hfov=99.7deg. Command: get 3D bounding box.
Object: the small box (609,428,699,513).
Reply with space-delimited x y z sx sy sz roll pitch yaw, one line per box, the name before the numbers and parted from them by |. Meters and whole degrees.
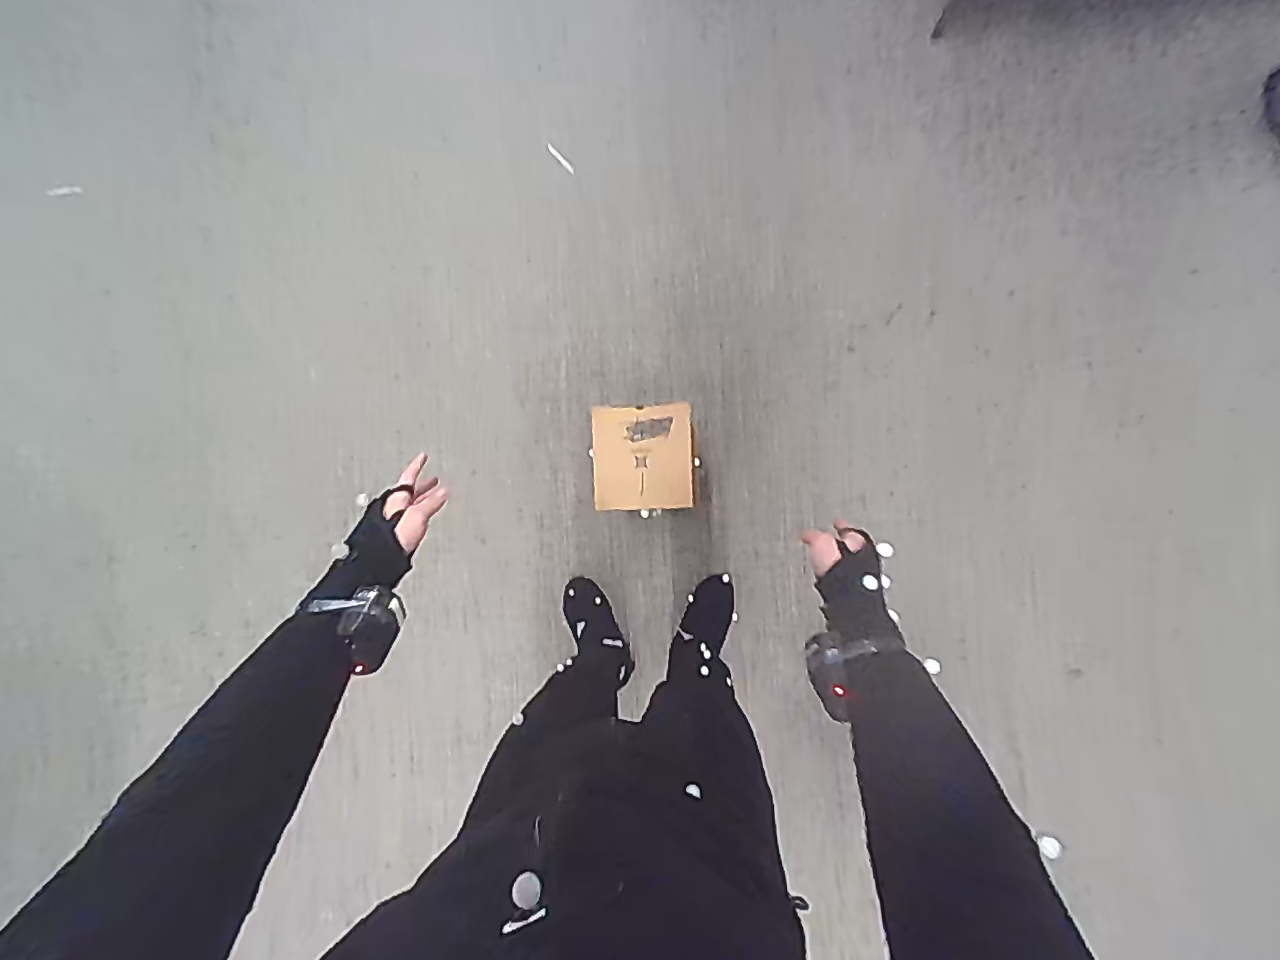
small box | 0.032 -0.015 1.145 0.179 0.176 0.168 -3 87 3
